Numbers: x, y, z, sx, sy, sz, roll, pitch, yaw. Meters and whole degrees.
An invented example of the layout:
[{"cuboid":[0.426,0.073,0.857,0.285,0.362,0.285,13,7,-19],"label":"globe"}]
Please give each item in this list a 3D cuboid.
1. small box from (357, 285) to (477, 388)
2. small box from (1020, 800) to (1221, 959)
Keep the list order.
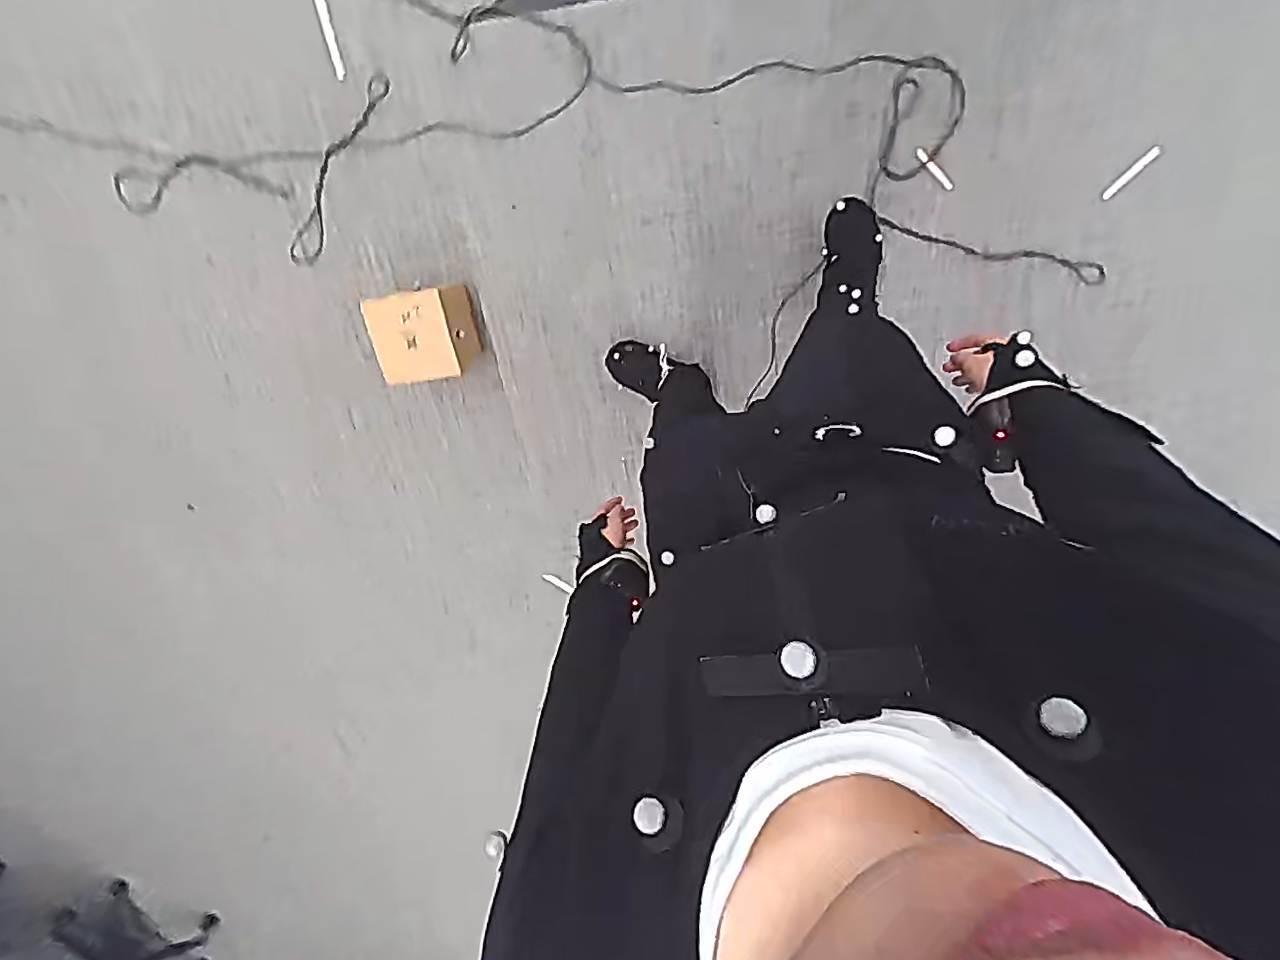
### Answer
[{"cuboid":[-0.470,-0.315,1.175,0.168,0.176,0.179,-8,114,4],"label":"small box"},{"cuboid":[0.785,0.672,0.909,0.179,0.176,0.168,-6,113,3],"label":"small box"}]
